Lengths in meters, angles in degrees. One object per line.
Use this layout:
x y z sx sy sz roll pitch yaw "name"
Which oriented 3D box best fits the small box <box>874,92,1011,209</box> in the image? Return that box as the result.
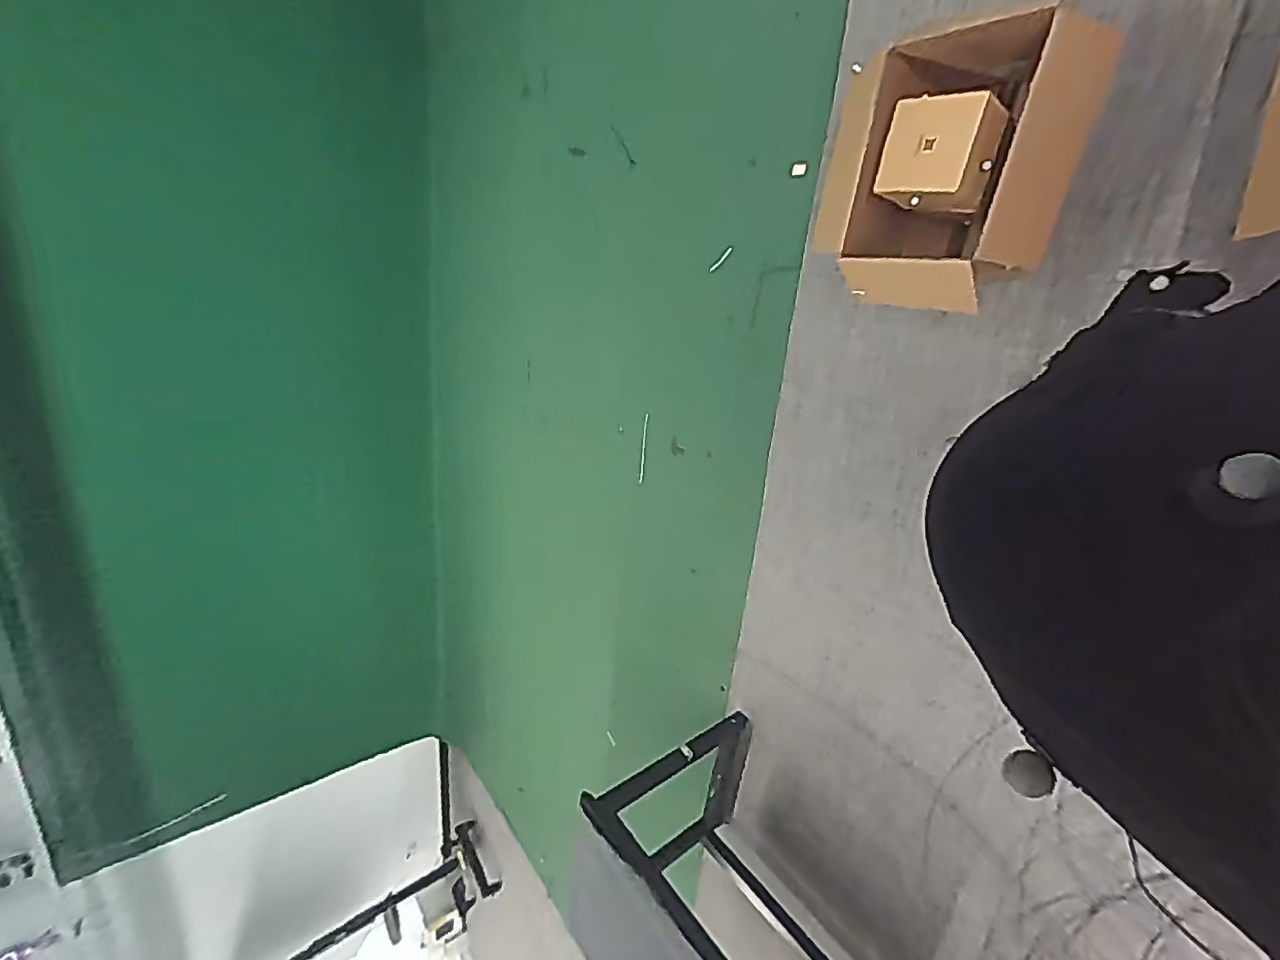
0.620 -0.663 1.106 0.179 0.176 0.168 29 118 43 "small box"
